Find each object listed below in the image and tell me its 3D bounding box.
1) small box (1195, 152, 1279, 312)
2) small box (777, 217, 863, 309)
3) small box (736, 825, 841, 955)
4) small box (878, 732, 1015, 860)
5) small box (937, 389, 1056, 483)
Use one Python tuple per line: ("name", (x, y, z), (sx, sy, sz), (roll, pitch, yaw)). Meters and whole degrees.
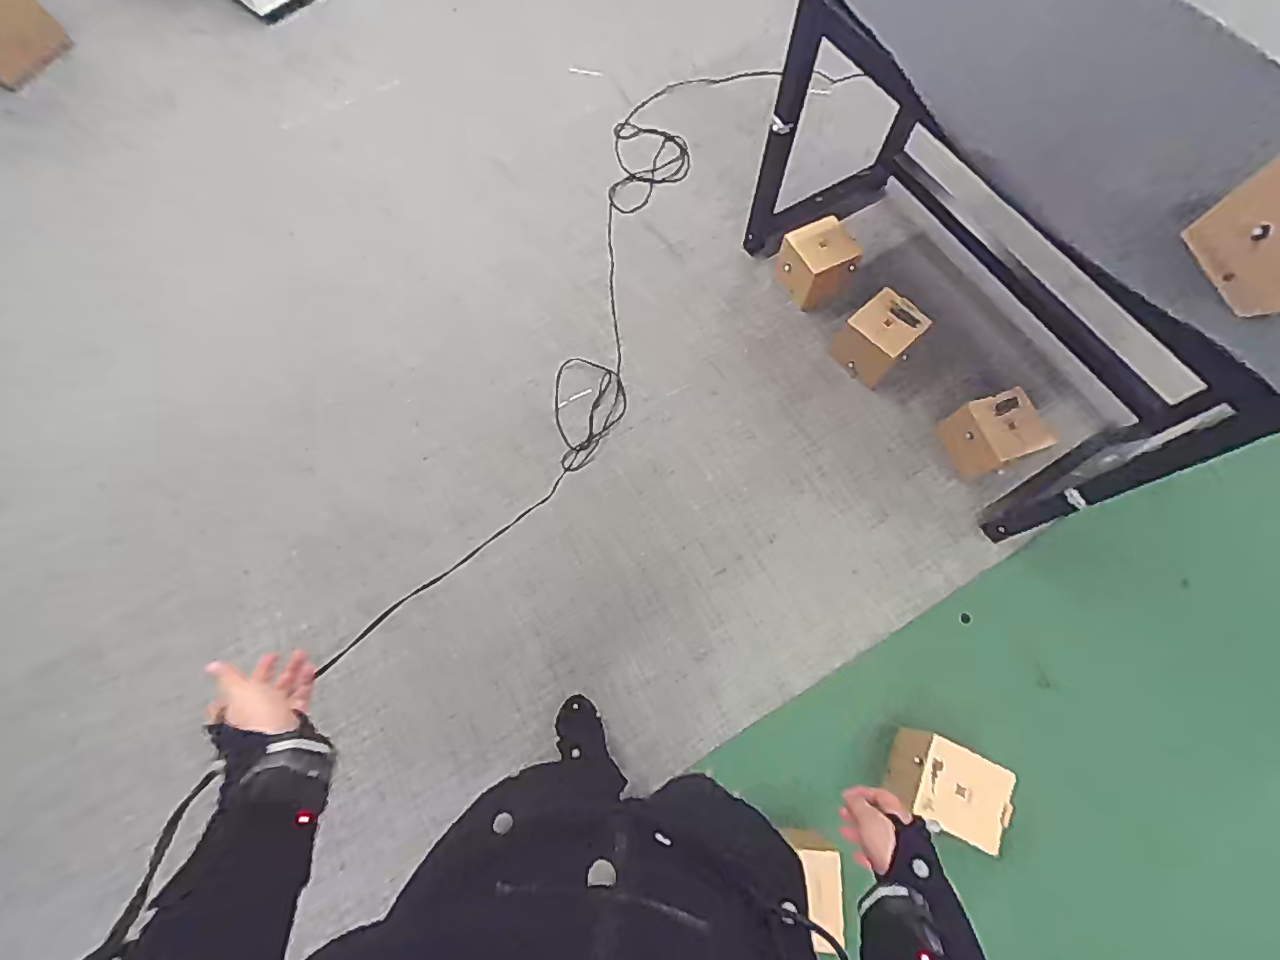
("small box", (0.954, -0.356, 0.760), (0.179, 0.176, 0.168), (-9, 70, -6))
("small box", (0.539, -0.657, 1.653), (0.179, 0.176, 0.168), (-25, 71, -9))
("small box", (0.294, 0.826, 1.108), (0.179, 0.176, 0.168), (4, 71, 0))
("small box", (0.652, 0.665, 1.167), (0.179, 0.176, 0.168), (26, 72, 8))
("small box", (0.942, -0.114, 1.450), (0.168, 0.176, 0.179), (-17, 72, -6))
